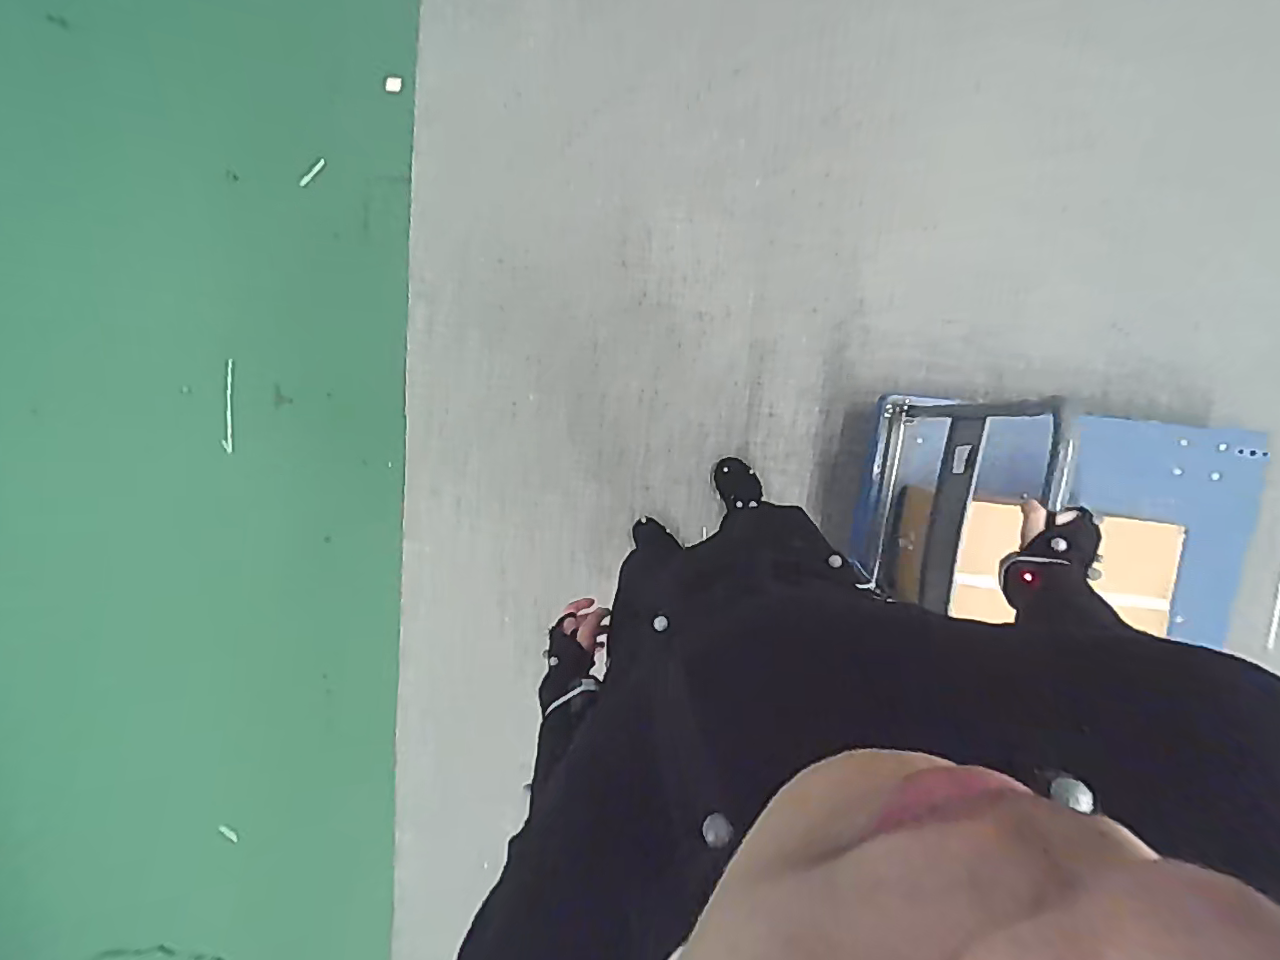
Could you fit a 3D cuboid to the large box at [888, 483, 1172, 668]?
[{"bbox_3d":[0.826,0.187,1.218,0.408,0.320,0.320,7,97,7],"label":"large box"}]
